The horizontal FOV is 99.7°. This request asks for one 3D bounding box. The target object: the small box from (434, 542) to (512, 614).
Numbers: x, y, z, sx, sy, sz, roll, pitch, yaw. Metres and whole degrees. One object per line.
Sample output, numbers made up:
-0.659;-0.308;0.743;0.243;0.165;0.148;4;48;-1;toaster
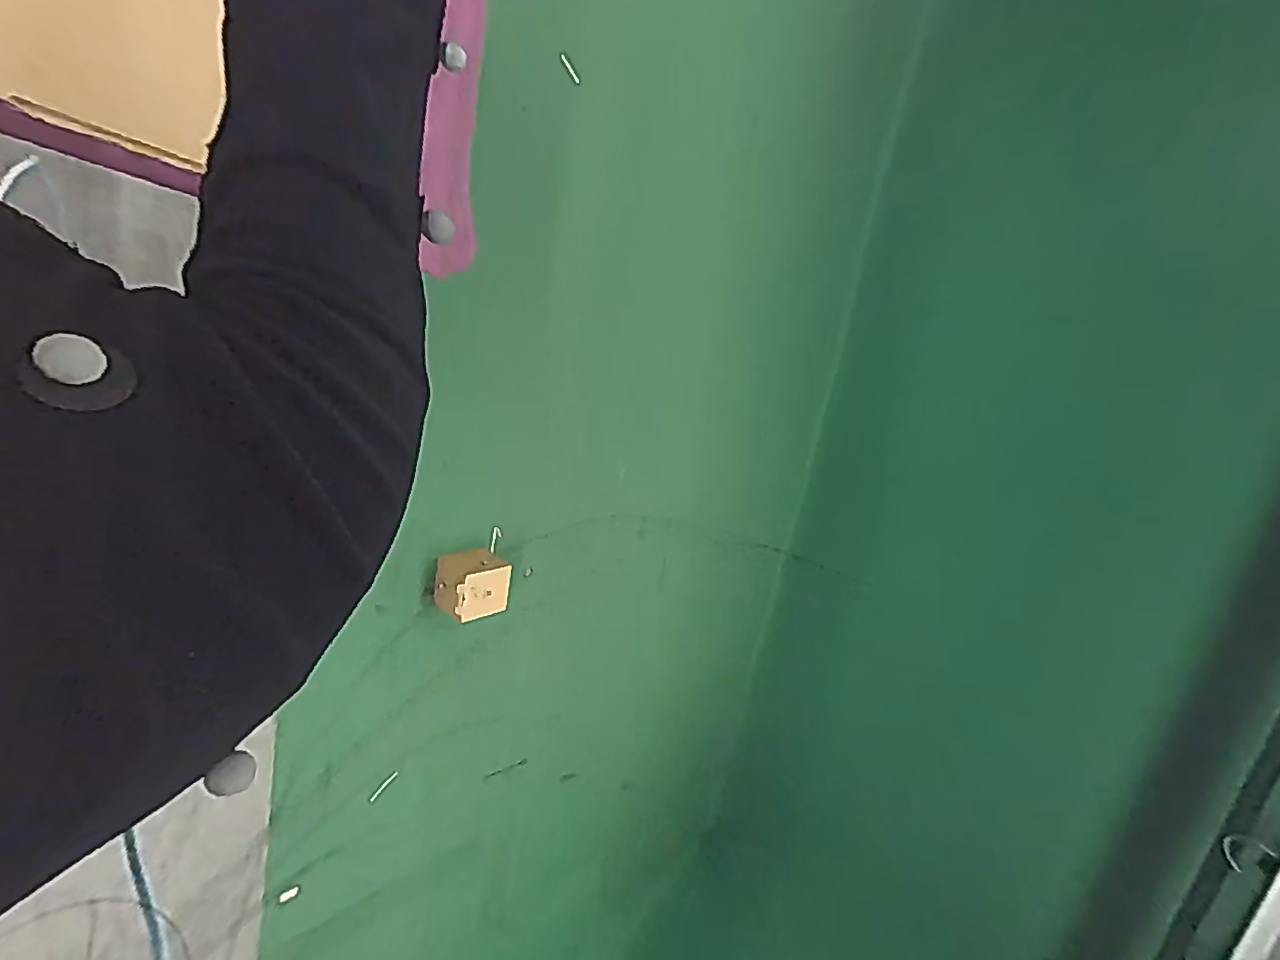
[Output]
-0.556;0.317;1.794;0.179;0.176;0.168;-5;111;-49;small box
